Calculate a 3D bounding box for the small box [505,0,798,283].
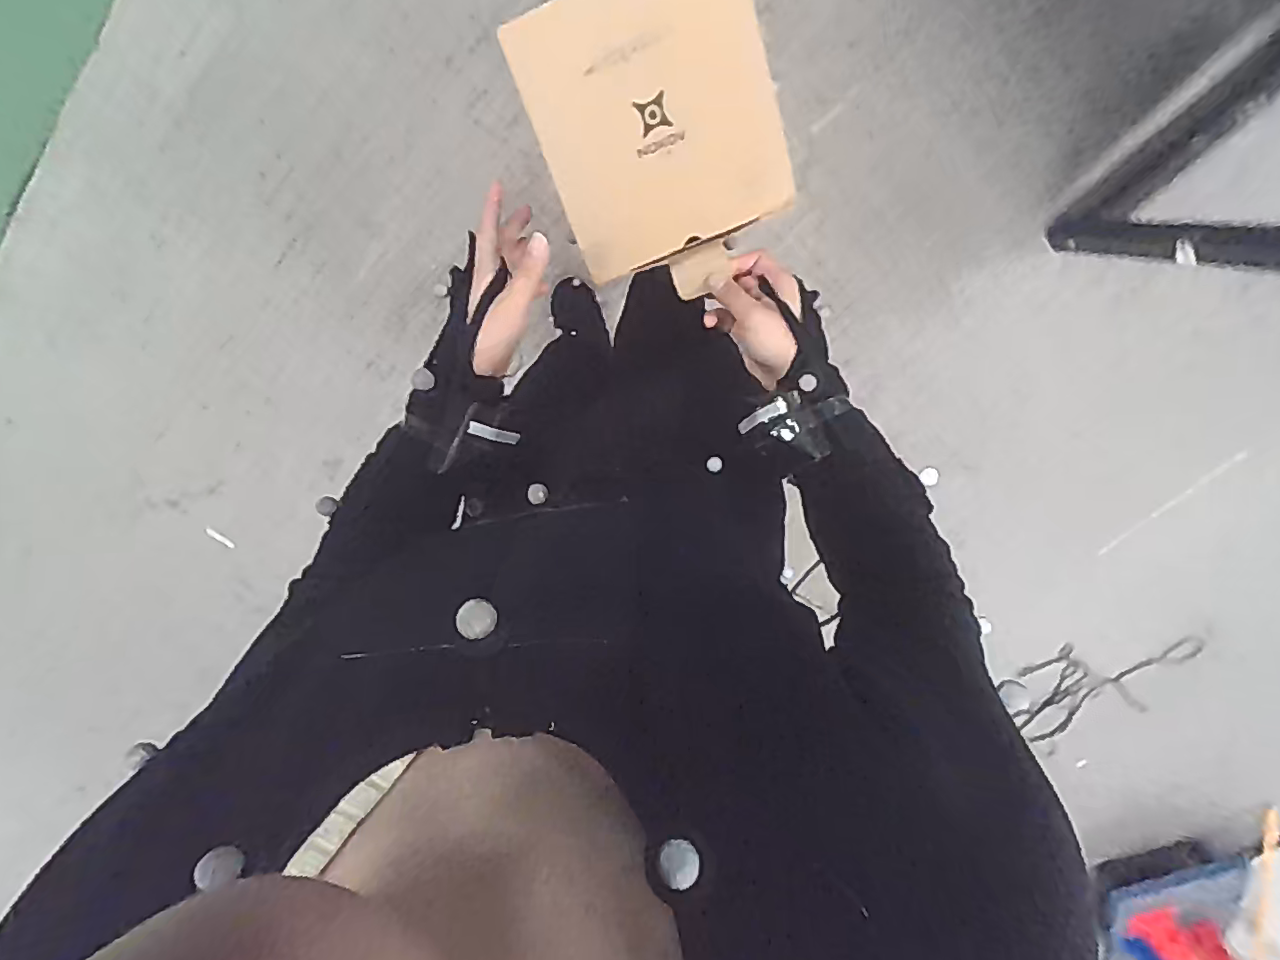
[{"bbox_3d":[0.015,-0.284,0.451,0.168,0.176,0.179,-19,112,8],"label":"small box"}]
